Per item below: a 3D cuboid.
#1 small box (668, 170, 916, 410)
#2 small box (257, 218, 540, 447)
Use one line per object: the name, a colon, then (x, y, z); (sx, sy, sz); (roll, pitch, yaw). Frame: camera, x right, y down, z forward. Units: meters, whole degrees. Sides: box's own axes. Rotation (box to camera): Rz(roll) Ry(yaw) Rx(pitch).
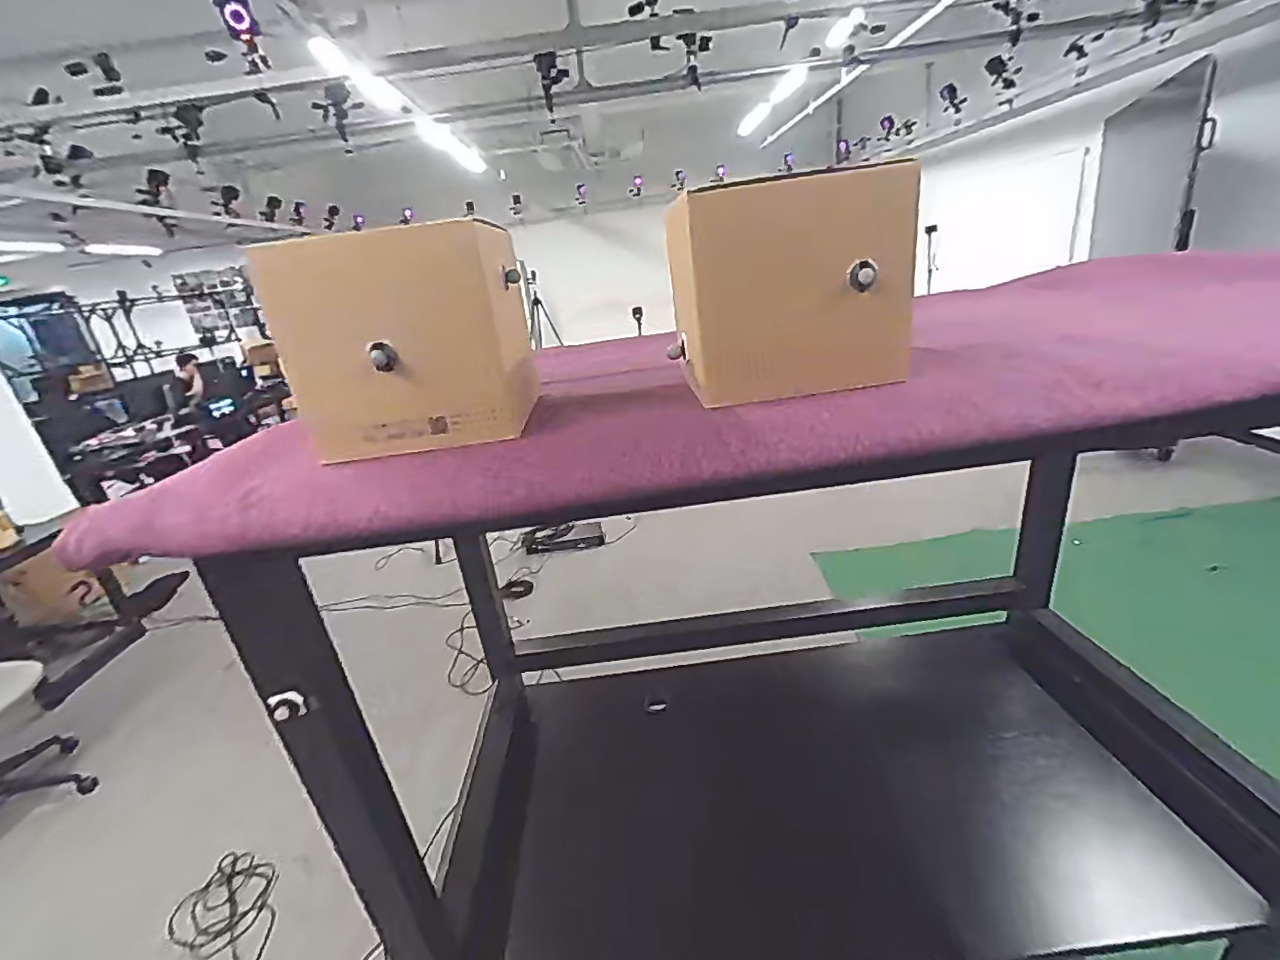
small box: (0.127, -0.172, 0.505); (0.179, 0.176, 0.168); (-8, 21, -1)
small box: (-0.192, -0.132, 0.495); (0.168, 0.176, 0.179); (-6, 21, -2)
